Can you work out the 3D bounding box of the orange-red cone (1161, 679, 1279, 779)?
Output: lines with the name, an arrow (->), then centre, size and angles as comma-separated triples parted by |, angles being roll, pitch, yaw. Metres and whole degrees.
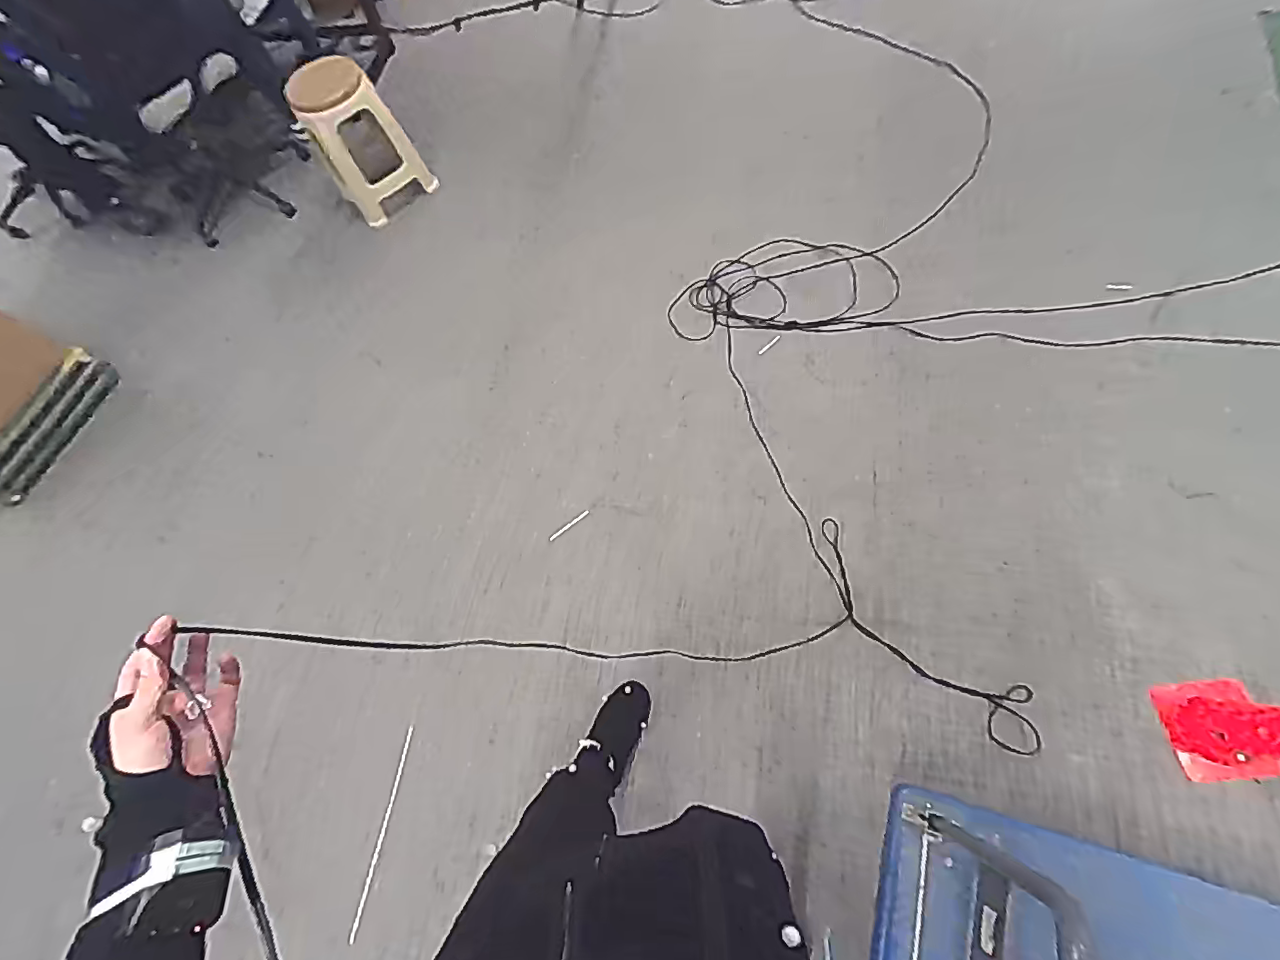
orange-red cone -> 1.283, 0.487, 1.058 | 0.198, 0.360, 0.199 | -8, 65, 5
